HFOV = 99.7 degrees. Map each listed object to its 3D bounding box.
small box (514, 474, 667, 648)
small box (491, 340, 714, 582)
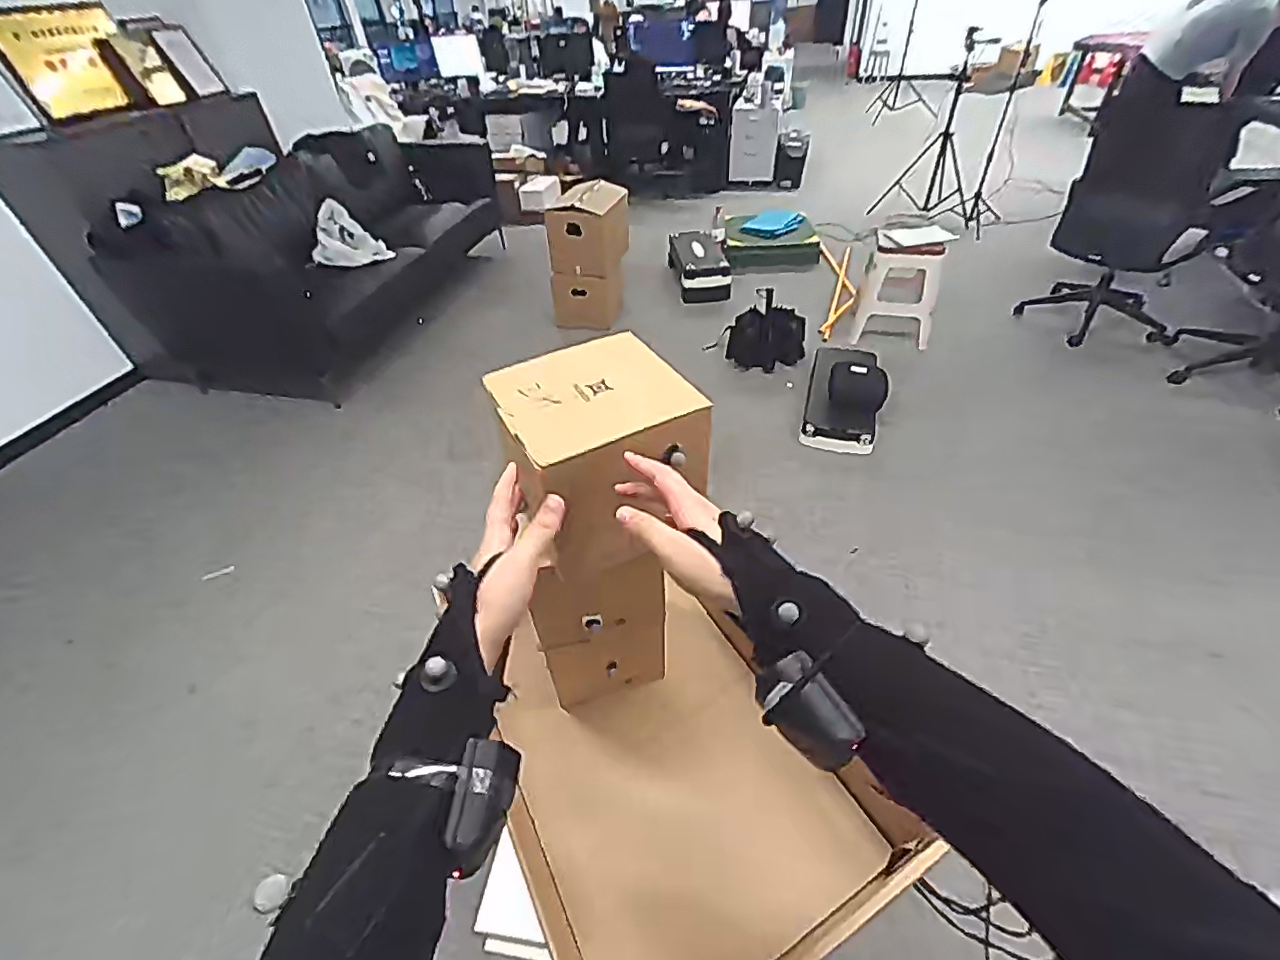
[{"bbox_3d":[-0.065,0.090,0.714,0.168,0.176,0.179,-12,44,-7],"label":"small box"},{"bbox_3d":[-0.039,-0.023,0.592,0.179,0.176,0.168,-23,46,-19],"label":"small box"}]
